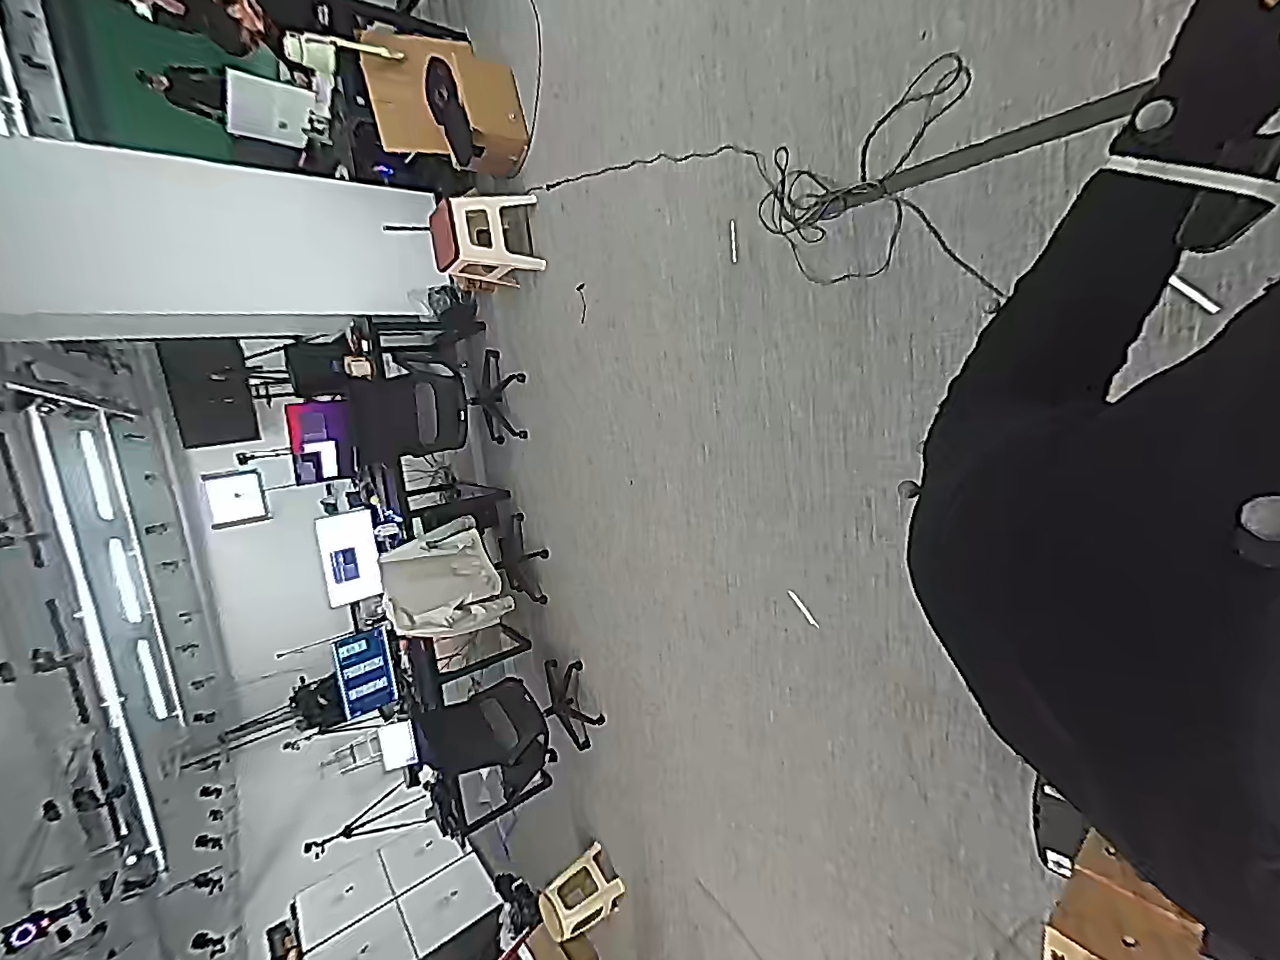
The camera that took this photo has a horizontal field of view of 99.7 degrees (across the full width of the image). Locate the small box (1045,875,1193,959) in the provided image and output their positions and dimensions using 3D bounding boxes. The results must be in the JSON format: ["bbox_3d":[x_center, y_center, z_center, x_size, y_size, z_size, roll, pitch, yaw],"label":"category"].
[{"bbox_3d":[0.863,0.876,0.979,0.179,0.176,0.168,10,109,51],"label":"small box"}]

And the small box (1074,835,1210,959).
[{"bbox_3d":[0.990,0.827,1.071,0.179,0.176,0.168,6,106,51],"label":"small box"}]

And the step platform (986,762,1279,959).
[{"bbox_3d":[1.026,0.792,0.948,0.684,0.204,0.286,4,105,53],"label":"step platform"}]
